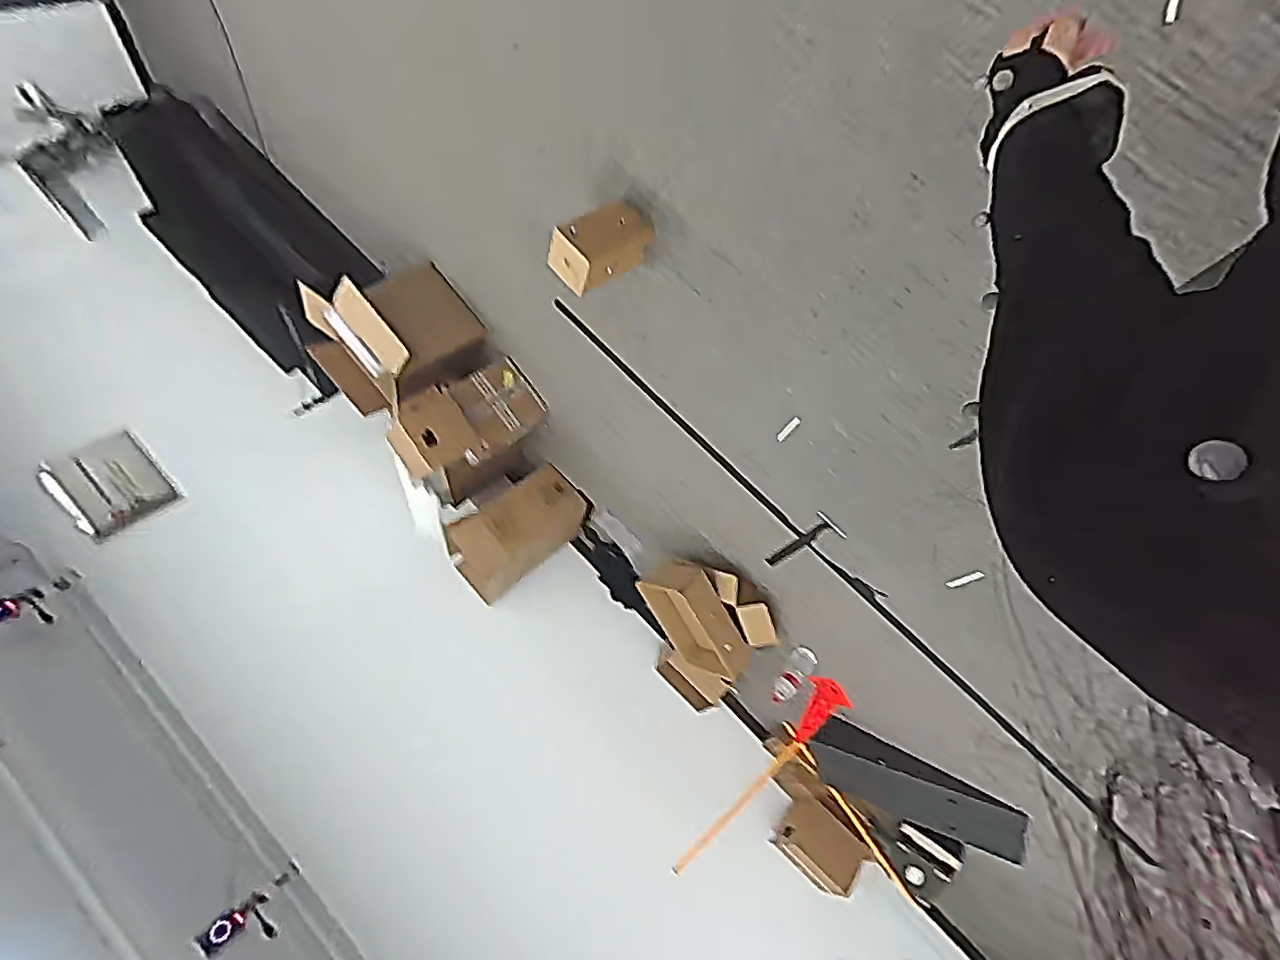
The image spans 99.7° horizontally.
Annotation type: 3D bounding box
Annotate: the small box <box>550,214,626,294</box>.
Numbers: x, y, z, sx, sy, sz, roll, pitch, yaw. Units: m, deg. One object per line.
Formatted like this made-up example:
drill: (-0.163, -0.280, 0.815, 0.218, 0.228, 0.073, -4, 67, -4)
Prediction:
small box: (-0.181, -0.790, 1.873, 0.179, 0.176, 0.168, 46, 151, 5)
